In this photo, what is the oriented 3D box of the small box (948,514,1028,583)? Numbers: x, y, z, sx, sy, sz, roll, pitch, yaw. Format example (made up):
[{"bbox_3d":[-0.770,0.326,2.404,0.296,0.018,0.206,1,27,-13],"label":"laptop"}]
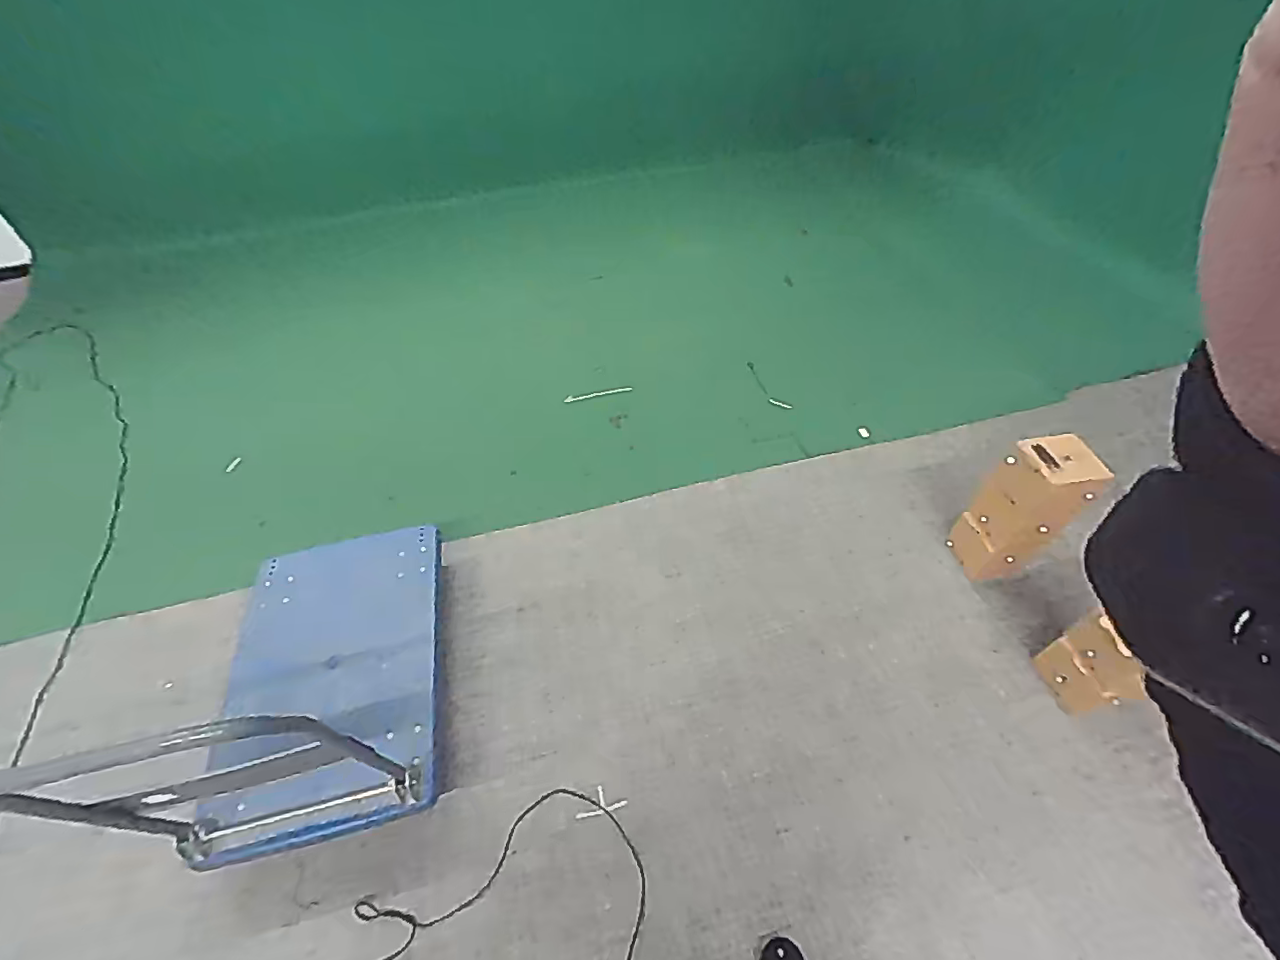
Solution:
[{"bbox_3d":[1.148,0.222,1.775,0.179,0.176,0.168,-8,49,-4],"label":"small box"}]

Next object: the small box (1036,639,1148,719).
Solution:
[{"bbox_3d":[1.238,0.539,1.488,0.179,0.176,0.168,-11,49,-4],"label":"small box"}]

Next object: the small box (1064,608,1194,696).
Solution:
[{"bbox_3d":[1.239,0.428,1.366,0.179,0.176,0.168,-7,48,-2],"label":"small box"}]

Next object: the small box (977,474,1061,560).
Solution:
[{"bbox_3d":[1.157,0.115,1.663,0.168,0.176,0.179,15,51,19],"label":"small box"}]

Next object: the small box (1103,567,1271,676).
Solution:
[{"bbox_3d":[1.231,0.325,1.239,0.168,0.176,0.179,-8,48,-2],"label":"small box"}]
